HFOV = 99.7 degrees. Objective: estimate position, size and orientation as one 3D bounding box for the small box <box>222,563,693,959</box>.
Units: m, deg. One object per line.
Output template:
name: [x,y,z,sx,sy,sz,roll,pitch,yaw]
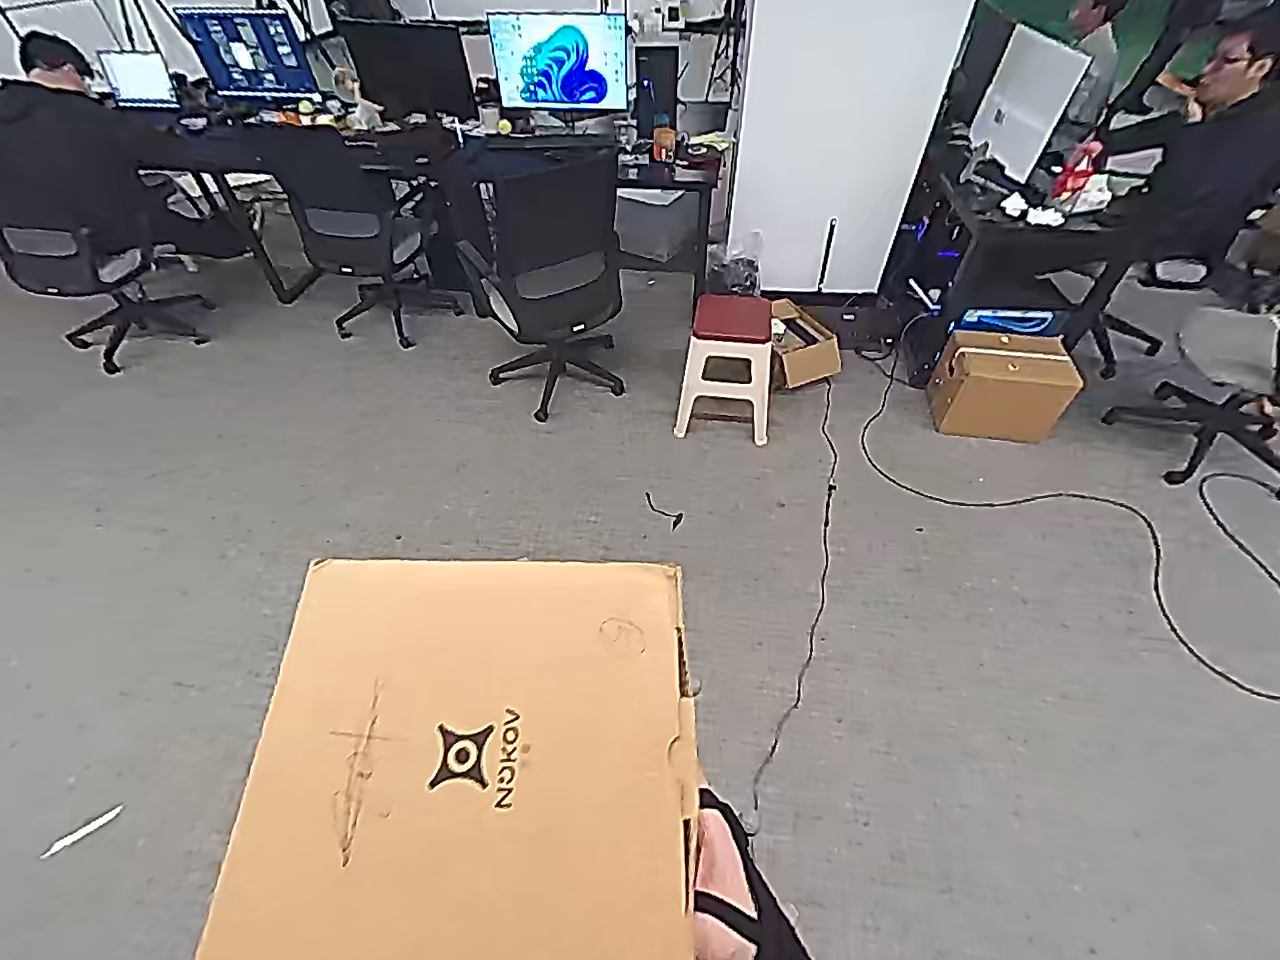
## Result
small box: [-0.070,0.152,0.304,0.179,0.176,0.168,0,61,-1]
